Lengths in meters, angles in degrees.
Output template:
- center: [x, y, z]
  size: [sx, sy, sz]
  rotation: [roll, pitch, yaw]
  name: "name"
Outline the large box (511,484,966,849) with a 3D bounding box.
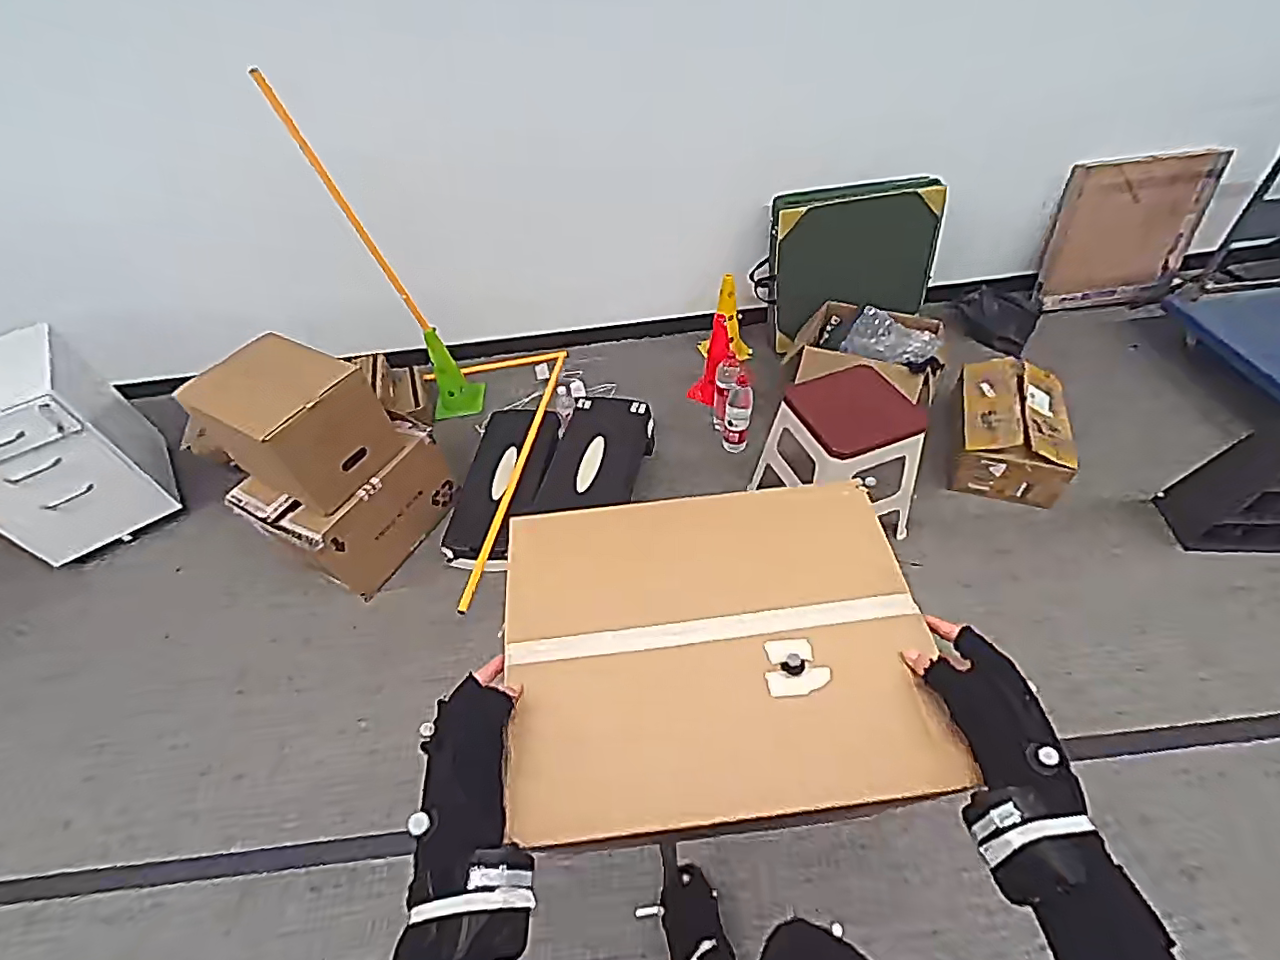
- center: [0.075, 0.237, 0.664]
  size: [0.408, 0.320, 0.320]
  rotation: [-6, 55, -2]
  name: "large box"
